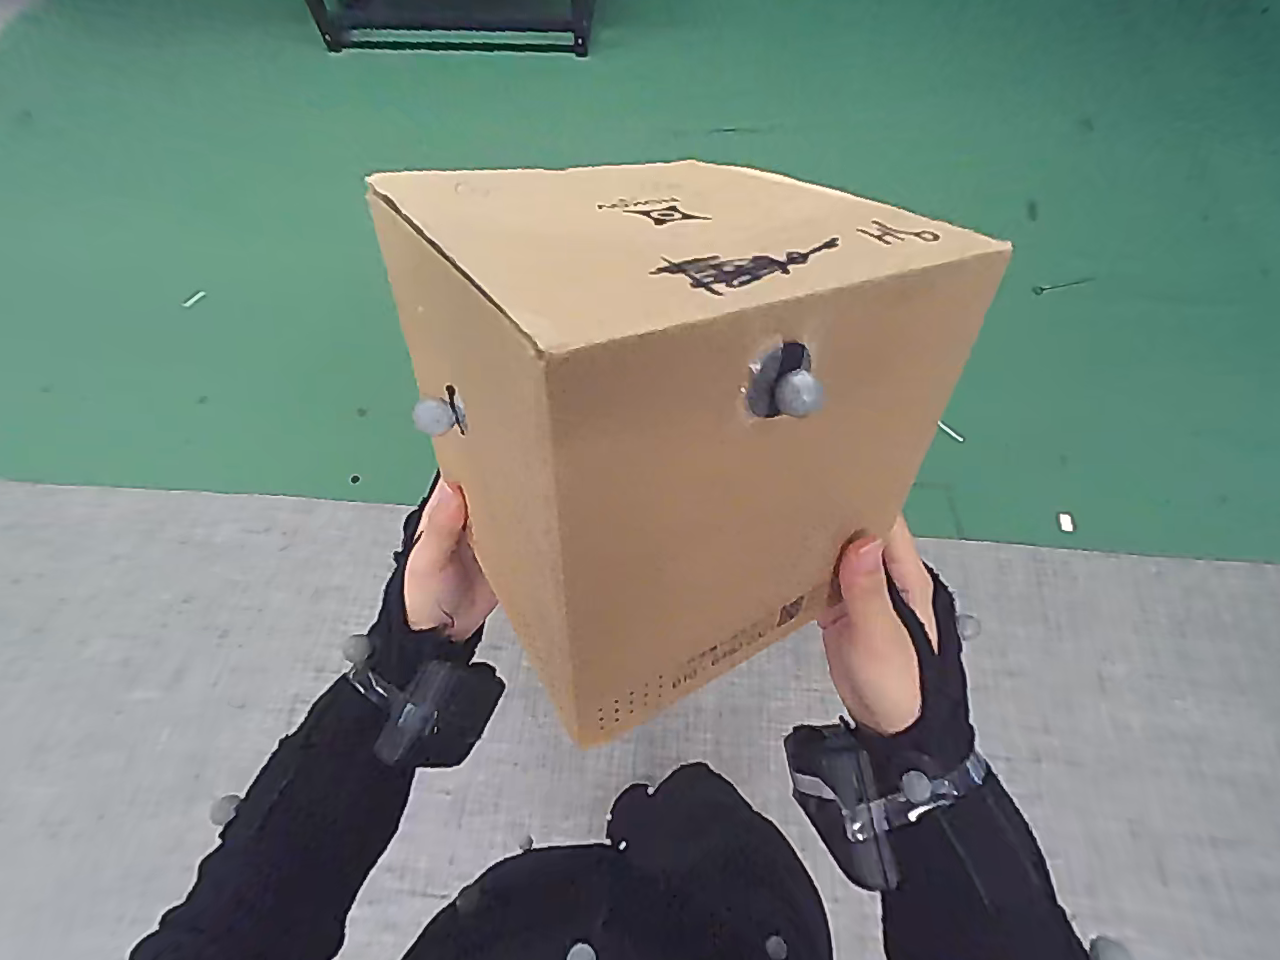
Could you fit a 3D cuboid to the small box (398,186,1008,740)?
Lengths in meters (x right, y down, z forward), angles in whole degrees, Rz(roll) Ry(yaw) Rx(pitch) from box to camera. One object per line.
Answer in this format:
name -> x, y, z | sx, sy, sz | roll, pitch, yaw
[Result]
small box -> 0.010, -0.024, 0.253 | 0.168, 0.176, 0.179 | -22, 44, -25
